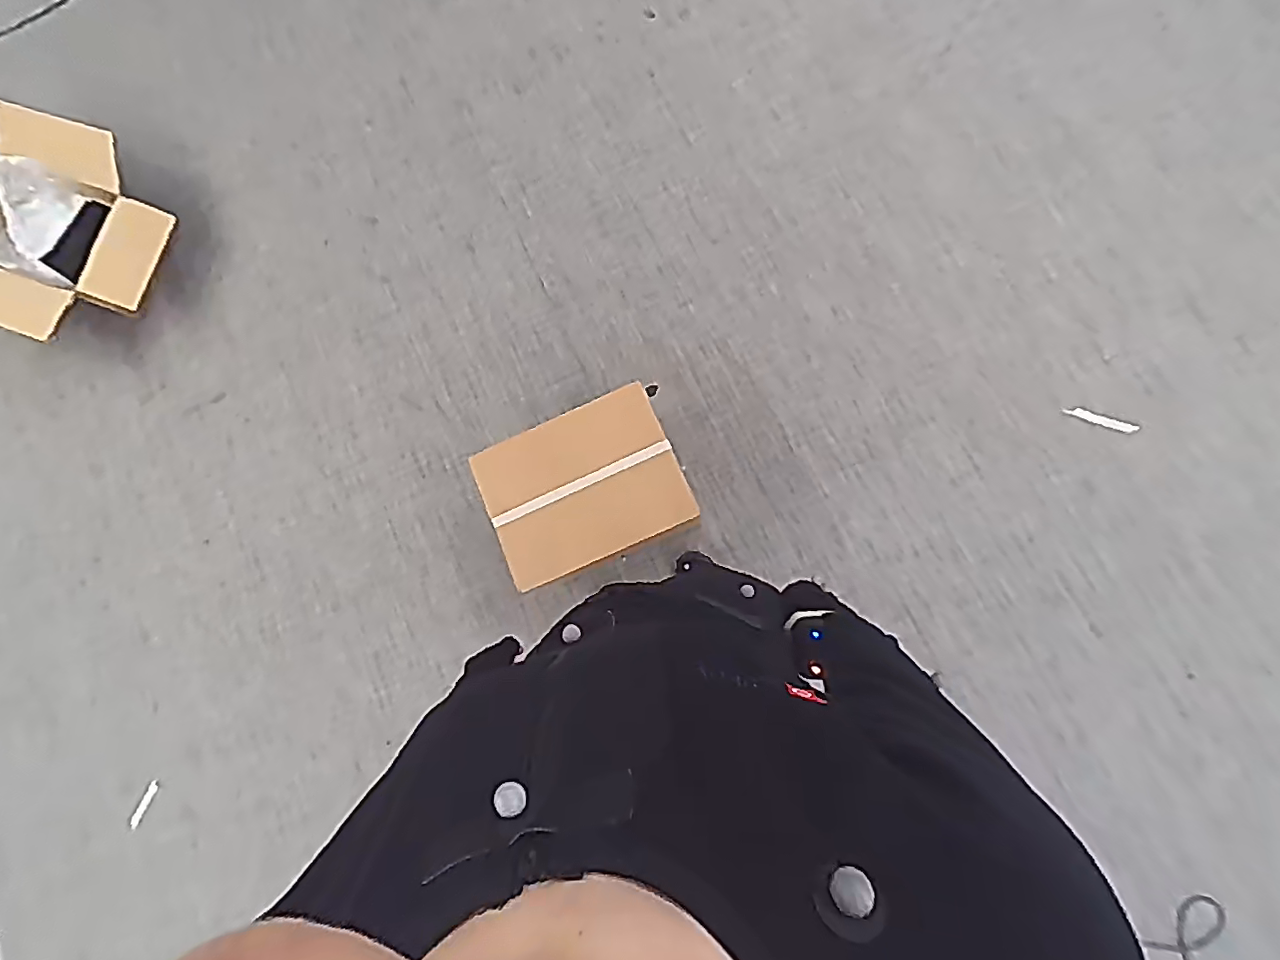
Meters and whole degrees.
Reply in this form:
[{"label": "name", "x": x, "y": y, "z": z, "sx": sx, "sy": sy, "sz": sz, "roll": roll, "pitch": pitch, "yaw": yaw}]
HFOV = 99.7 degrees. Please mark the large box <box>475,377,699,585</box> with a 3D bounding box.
[{"label": "large box", "x": -0.104, "y": 0.021, "z": 1.273, "sx": 0.408, "sy": 0.320, "sz": 0.320, "roll": -24, "pitch": 81, "yaw": 3}]
